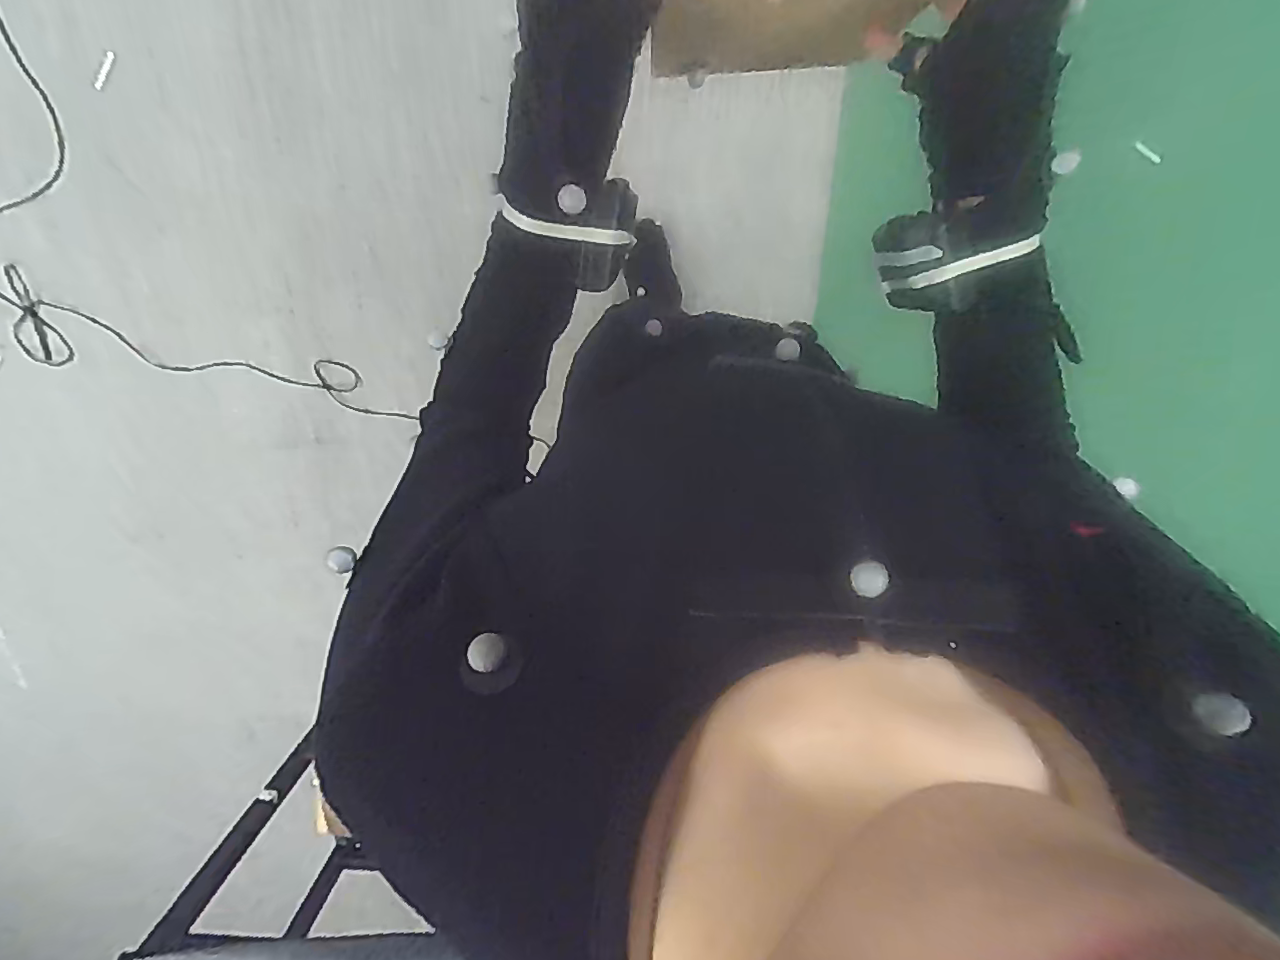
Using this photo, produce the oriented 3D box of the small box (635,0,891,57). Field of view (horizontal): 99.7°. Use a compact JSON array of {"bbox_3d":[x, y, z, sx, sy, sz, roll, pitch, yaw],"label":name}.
[{"bbox_3d":[0.076,-0.368,0.304,0.168,0.176,0.179,-2,111,2],"label":"small box"}]
